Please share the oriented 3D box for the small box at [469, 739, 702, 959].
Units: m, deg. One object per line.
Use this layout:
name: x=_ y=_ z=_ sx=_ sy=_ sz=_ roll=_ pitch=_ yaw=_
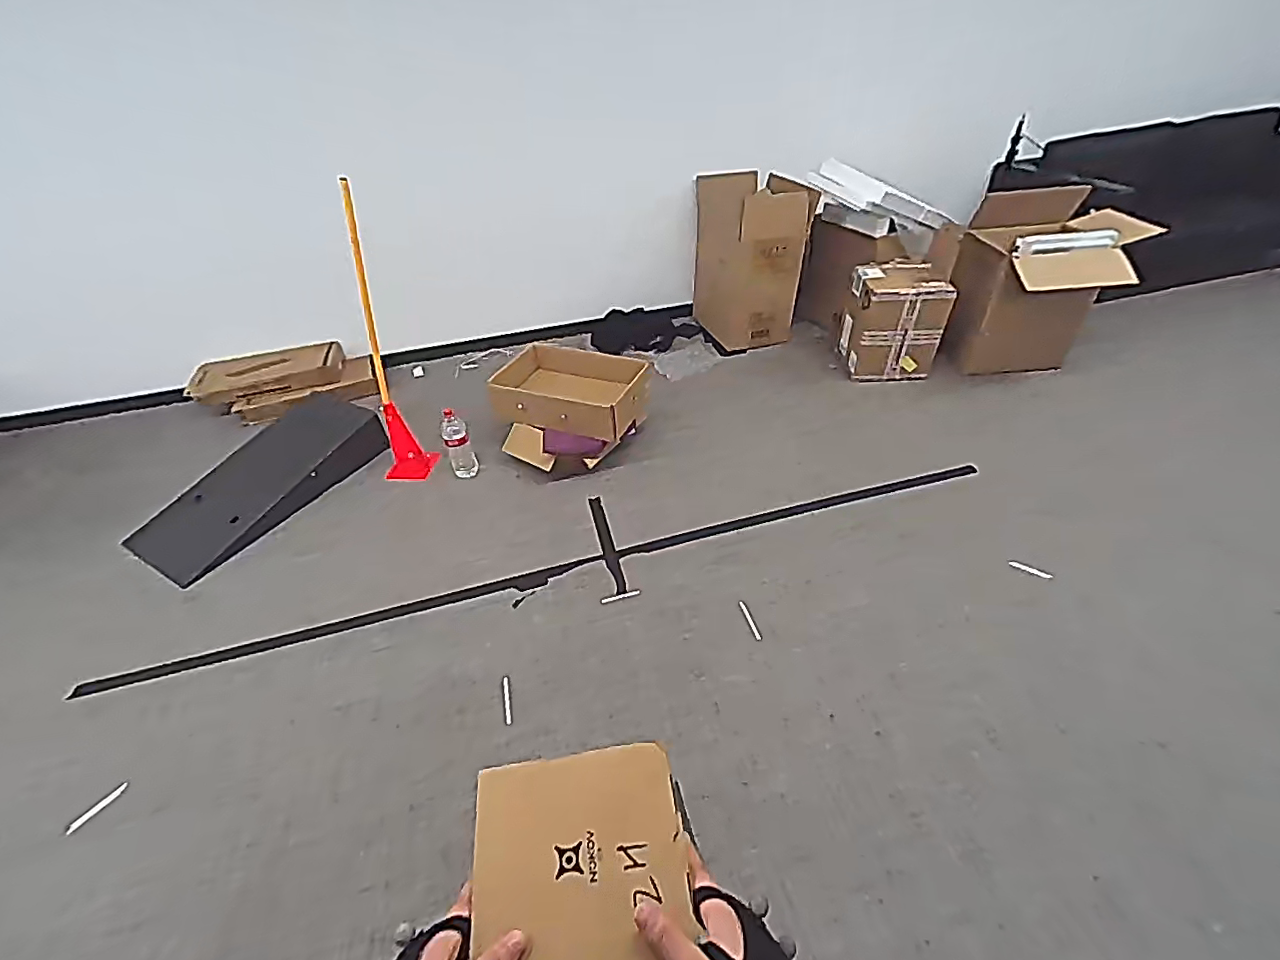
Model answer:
small box: x=-0.046 y=0.365 z=0.503 sx=0.179 sy=0.176 sz=0.168 roll=-7 pitch=48 yaw=-5
